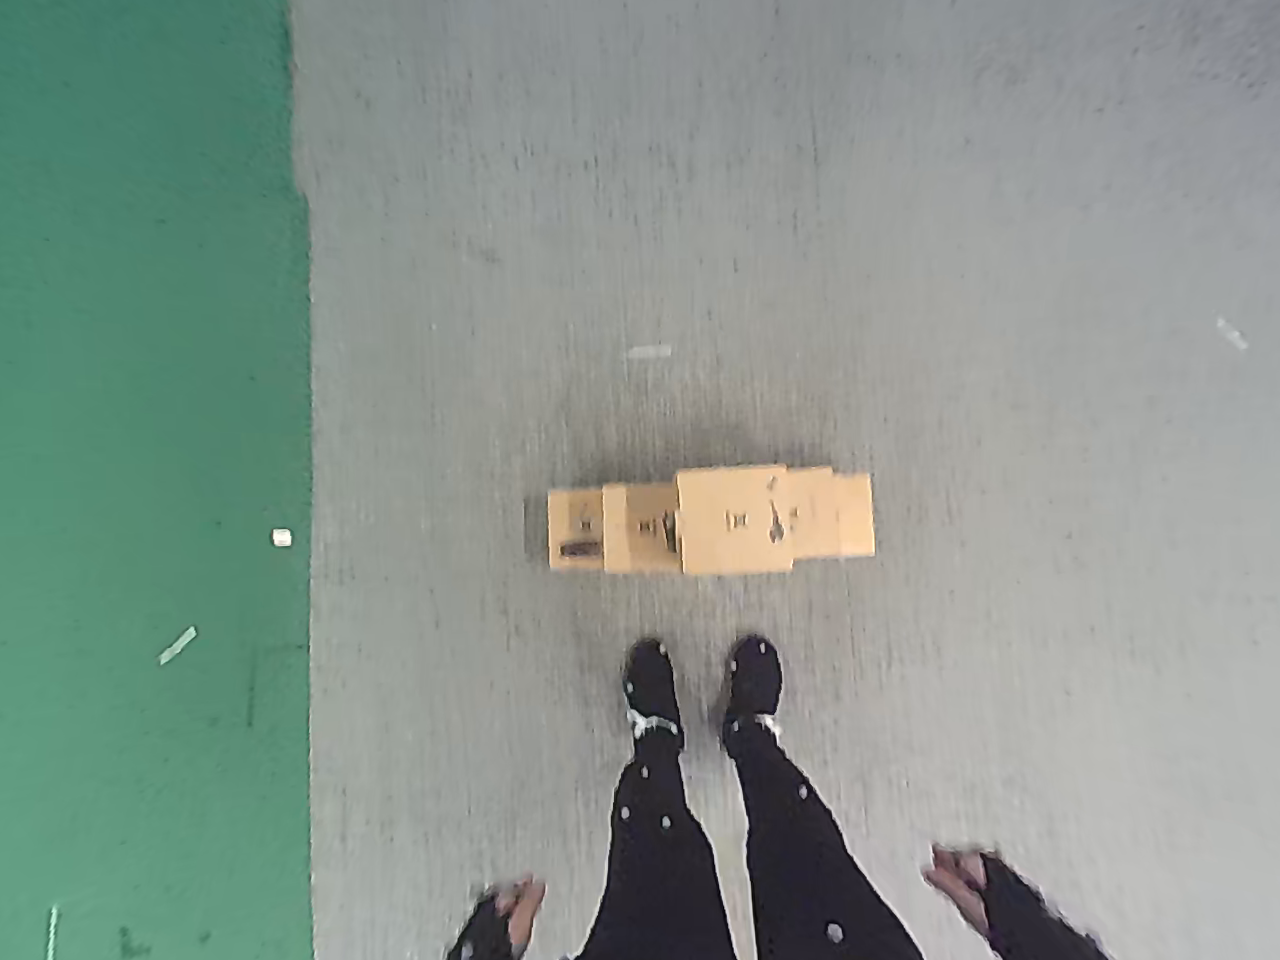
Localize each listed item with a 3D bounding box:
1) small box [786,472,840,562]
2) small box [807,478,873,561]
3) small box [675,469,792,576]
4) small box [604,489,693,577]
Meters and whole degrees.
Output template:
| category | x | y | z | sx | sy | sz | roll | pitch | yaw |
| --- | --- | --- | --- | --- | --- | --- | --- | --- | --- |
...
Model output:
| category | x | y | z | sx | sy | sz | roll | pitch | yaw |
| --- | --- | --- | --- | --- | --- | --- | --- | --- | --- |
| small box | 0.280 | 0.078 | 1.089 | 0.179 | 0.176 | 0.168 | -5 | 86 | 0 |
| small box | 0.421 | 0.091 | 1.248 | 0.168 | 0.176 | 0.179 | -3 | 85 | 2 |
| small box | 0.150 | 0.073 | 0.928 | 0.179 | 0.176 | 0.168 | -3 | 86 | 2 |
| small box | 0.022 | 0.104 | 1.094 | 0.179 | 0.176 | 0.168 | -2 | 85 | 3 |
